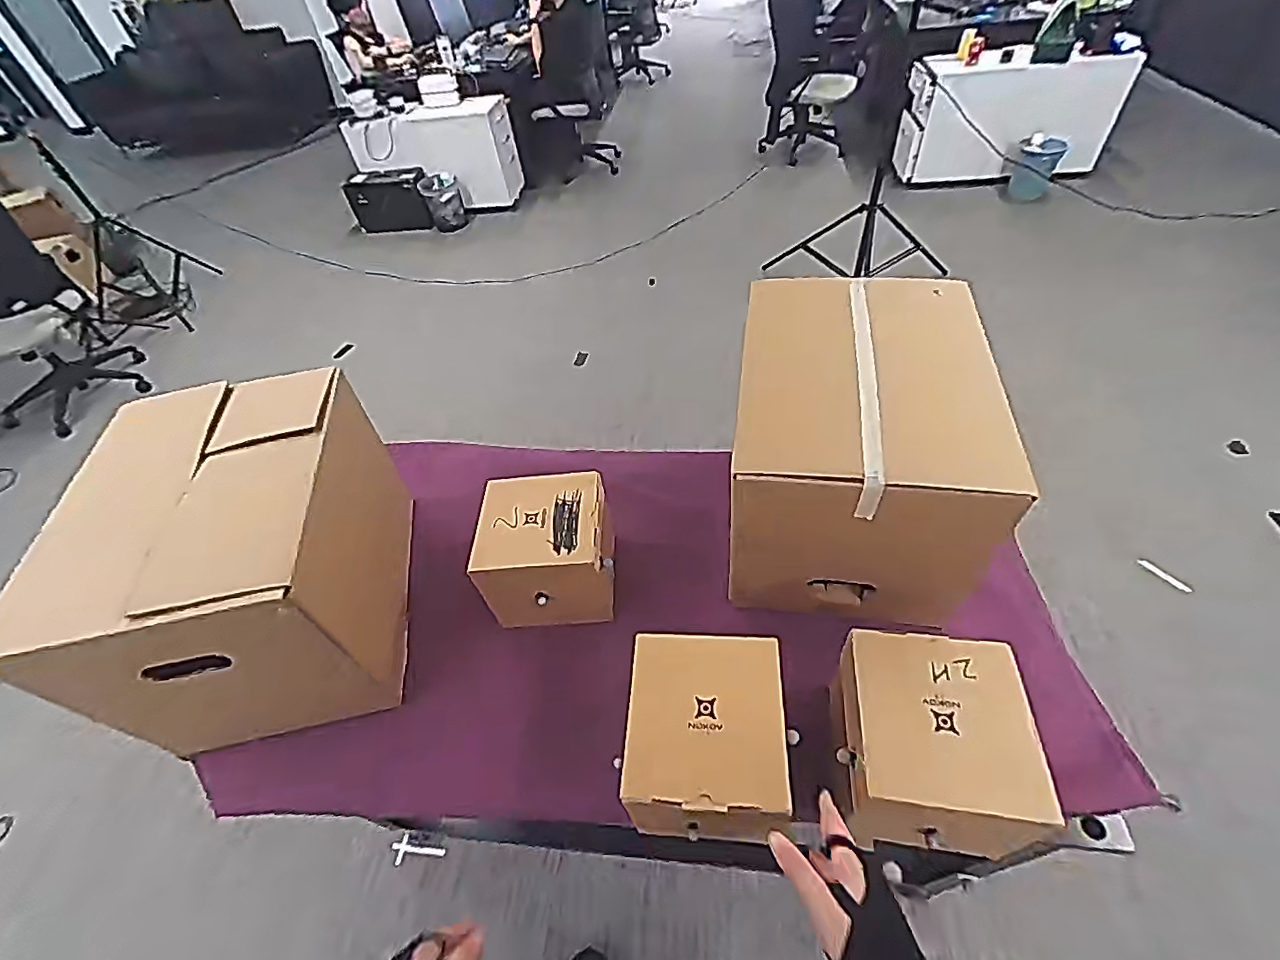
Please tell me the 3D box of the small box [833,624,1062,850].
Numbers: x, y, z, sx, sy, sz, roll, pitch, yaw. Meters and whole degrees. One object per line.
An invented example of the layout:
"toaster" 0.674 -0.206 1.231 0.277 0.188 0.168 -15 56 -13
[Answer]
"small box" 0.314 0.285 0.599 0.168 0.176 0.179 3 47 11

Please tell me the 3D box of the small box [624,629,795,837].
"small box" 0.079 0.293 0.629 0.168 0.176 0.179 0 49 8
